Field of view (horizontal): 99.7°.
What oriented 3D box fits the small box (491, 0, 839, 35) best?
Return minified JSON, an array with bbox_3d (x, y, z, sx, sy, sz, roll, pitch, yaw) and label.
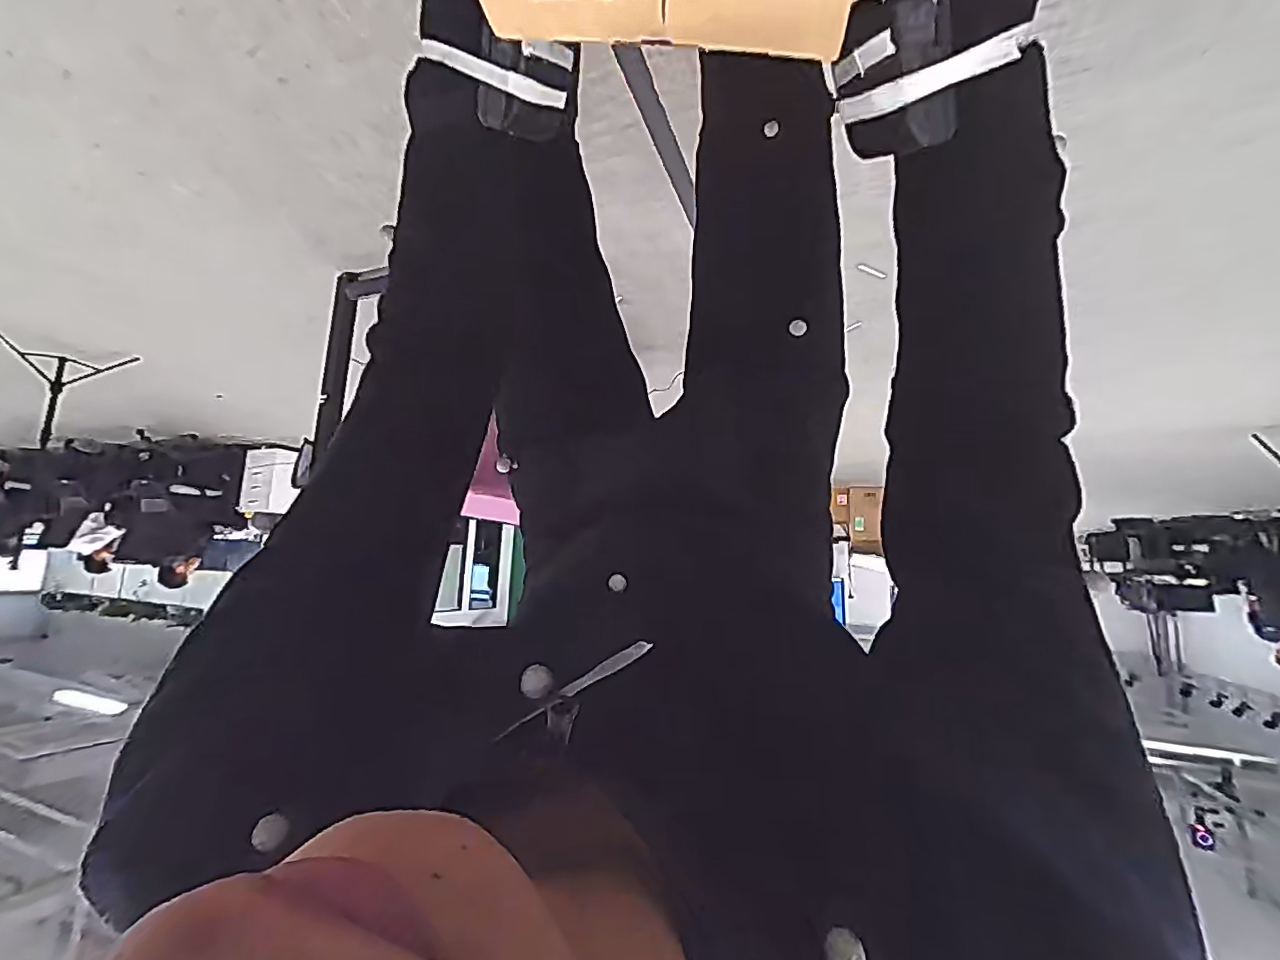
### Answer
[{"bbox_3d":[0.014,-0.302,0.175,0.168,0.176,0.179,11,173,10],"label":"small box"}]
